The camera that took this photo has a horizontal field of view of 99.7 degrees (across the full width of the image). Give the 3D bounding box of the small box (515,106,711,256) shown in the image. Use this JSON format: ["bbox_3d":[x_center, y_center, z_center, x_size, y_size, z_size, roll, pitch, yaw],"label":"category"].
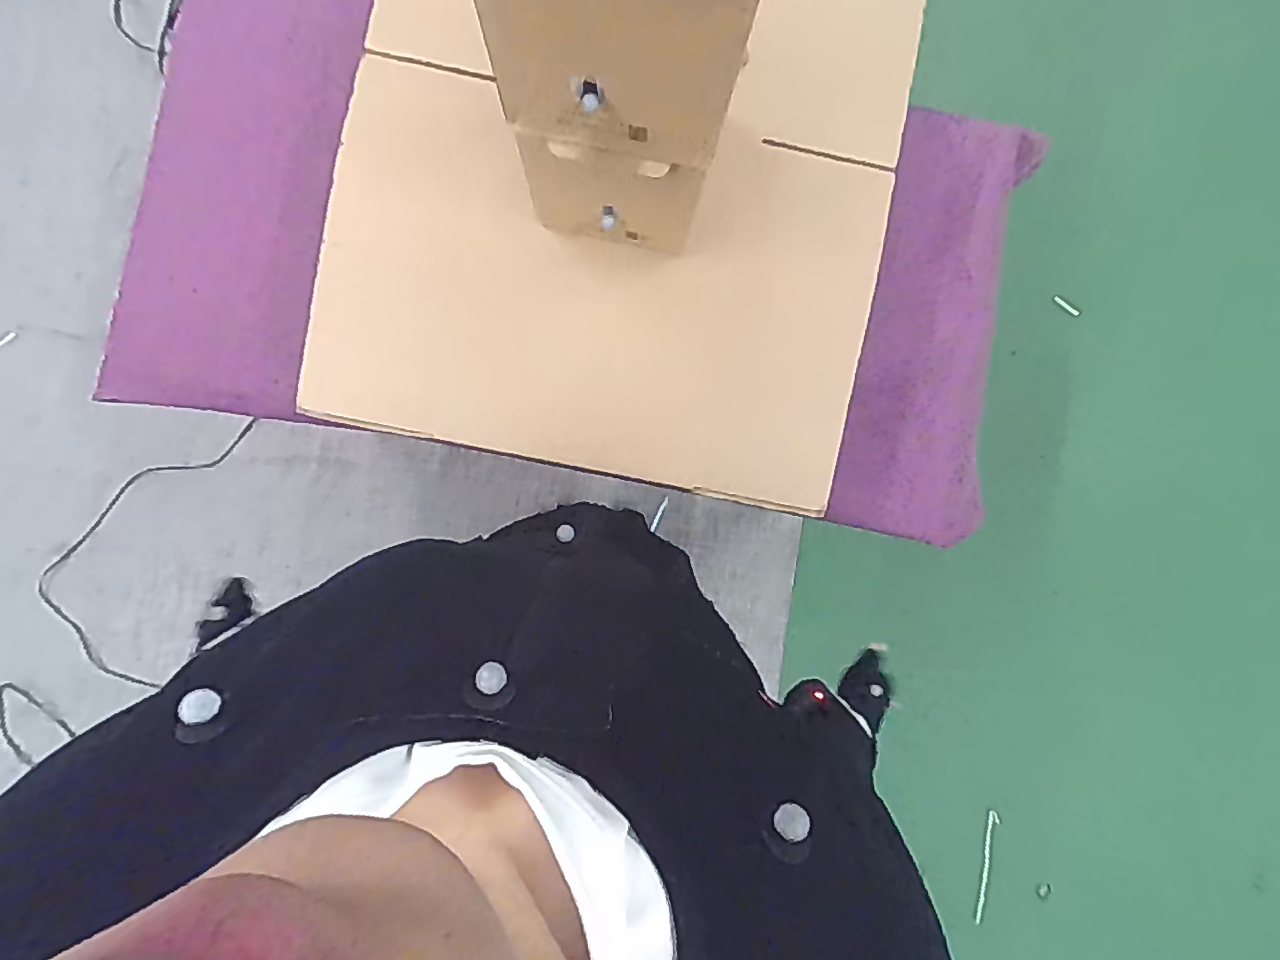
[{"bbox_3d":[-0.009,-0.351,0.523,0.168,0.176,0.179,12,87,-2],"label":"small box"}]

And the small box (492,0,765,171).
[{"bbox_3d":[-0.002,-0.351,0.360,0.168,0.176,0.179,10,87,-2],"label":"small box"}]
